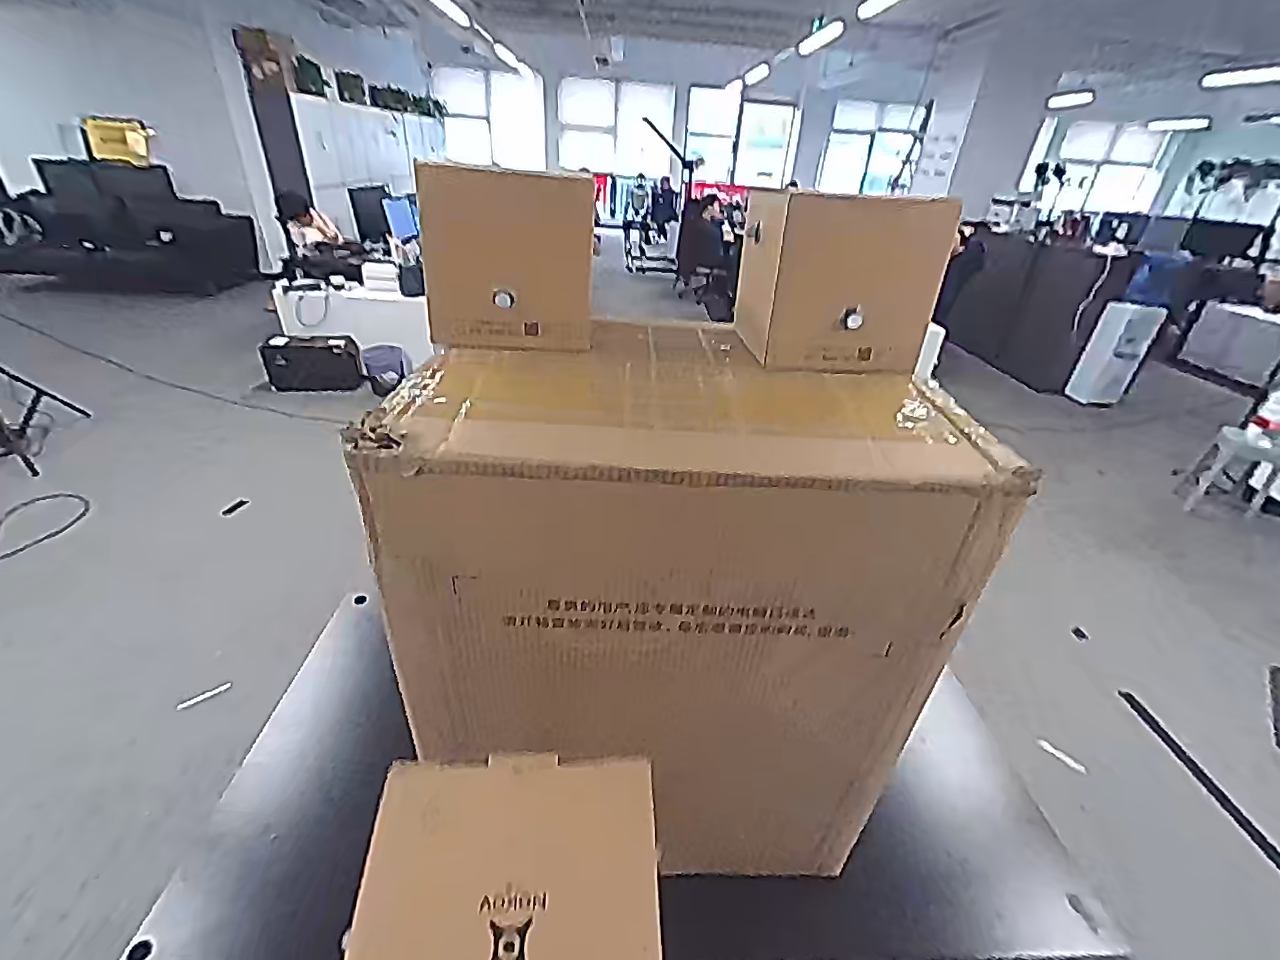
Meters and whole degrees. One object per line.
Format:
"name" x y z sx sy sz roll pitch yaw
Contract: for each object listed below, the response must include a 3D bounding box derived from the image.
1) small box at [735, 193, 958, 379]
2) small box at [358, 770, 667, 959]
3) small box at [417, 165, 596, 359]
"small box" 0.209 -0.222 0.609 0.168 0.176 0.179 1 29 -3
"small box" -0.077 0.308 0.348 0.168 0.176 0.179 2 47 -8
"small box" -0.140 -0.246 0.608 0.168 0.176 0.179 0 30 -9
